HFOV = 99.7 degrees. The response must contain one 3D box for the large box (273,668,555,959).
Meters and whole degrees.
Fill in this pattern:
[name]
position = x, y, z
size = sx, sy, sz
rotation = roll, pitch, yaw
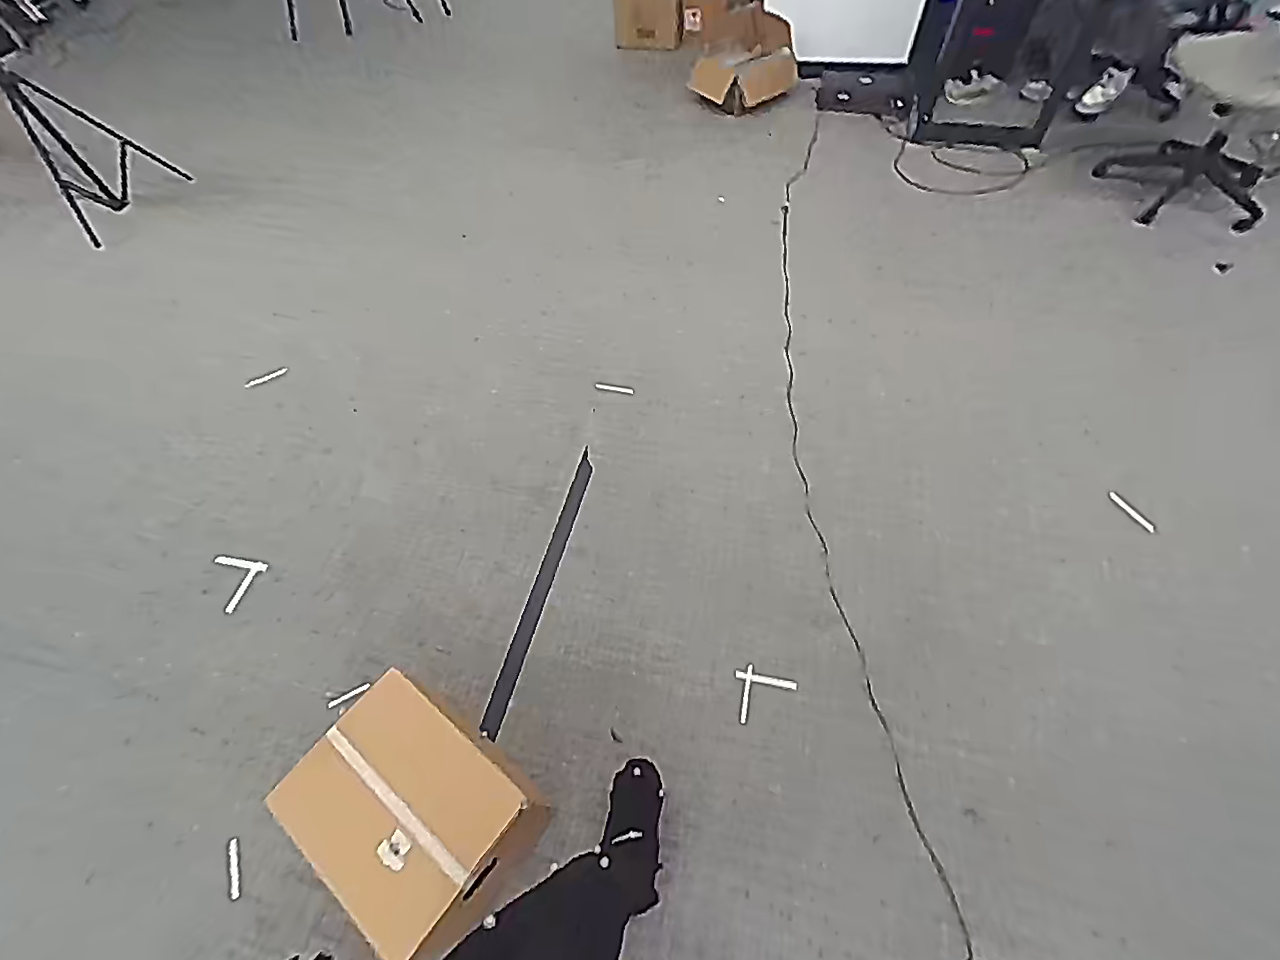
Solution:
[large box]
position = -0.446, 0.676, 1.142
size = 0.408, 0.320, 0.320
rotation = 33, 65, 21
